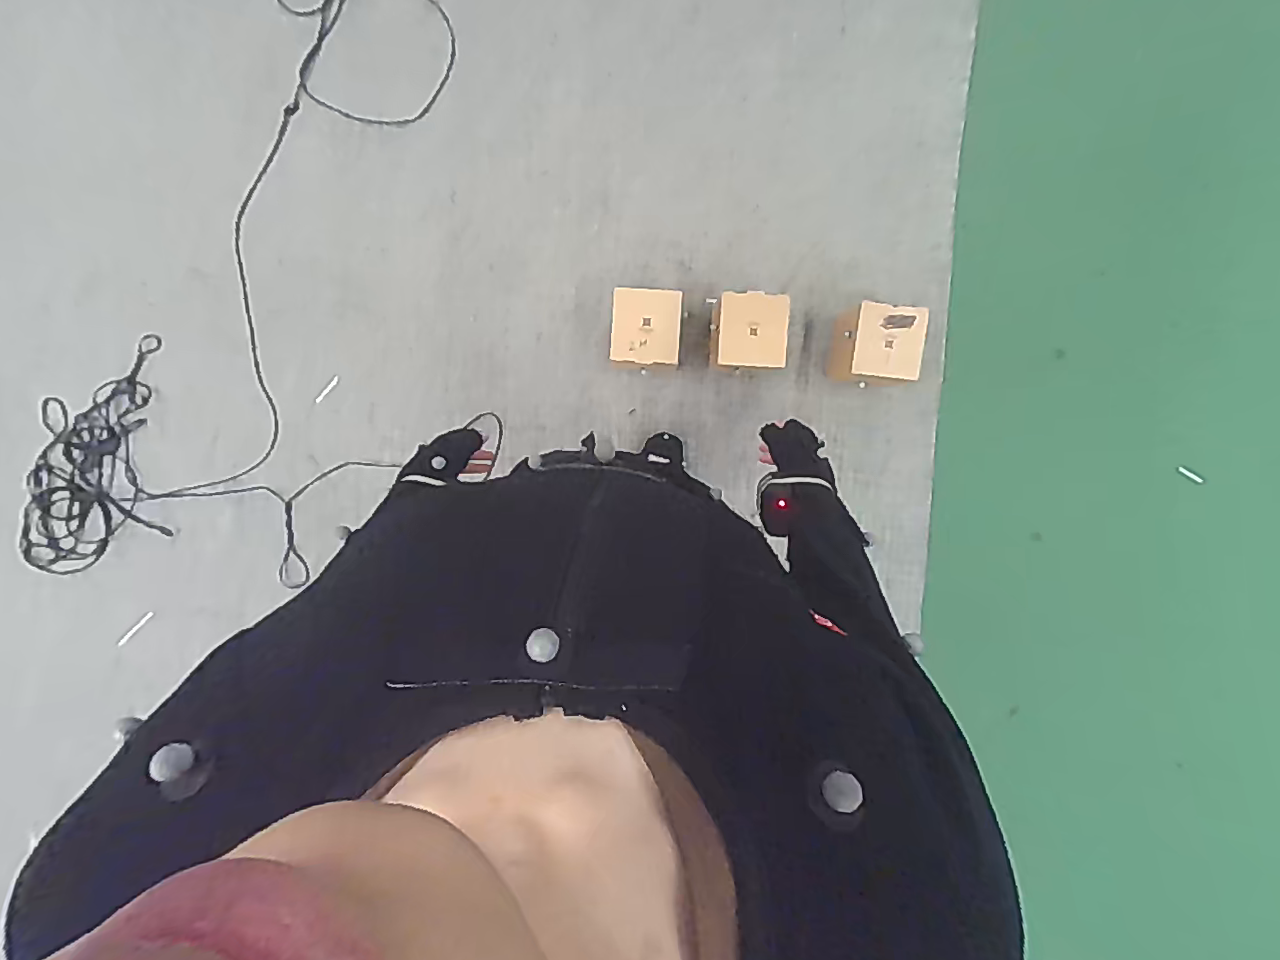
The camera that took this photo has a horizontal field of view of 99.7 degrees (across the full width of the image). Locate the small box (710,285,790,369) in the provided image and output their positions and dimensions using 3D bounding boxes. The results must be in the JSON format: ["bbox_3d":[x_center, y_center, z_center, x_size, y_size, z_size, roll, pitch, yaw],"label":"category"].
[{"bbox_3d":[0.270,-0.379,1.365,0.168,0.176,0.179,3,94,0],"label":"small box"}]

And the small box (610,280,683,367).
[{"bbox_3d":[0.015,-0.388,1.362,0.168,0.176,0.179,4,95,1],"label":"small box"}]

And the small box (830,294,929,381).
[{"bbox_3d":[0.596,-0.353,1.364,0.168,0.176,0.179,7,96,0],"label":"small box"}]
